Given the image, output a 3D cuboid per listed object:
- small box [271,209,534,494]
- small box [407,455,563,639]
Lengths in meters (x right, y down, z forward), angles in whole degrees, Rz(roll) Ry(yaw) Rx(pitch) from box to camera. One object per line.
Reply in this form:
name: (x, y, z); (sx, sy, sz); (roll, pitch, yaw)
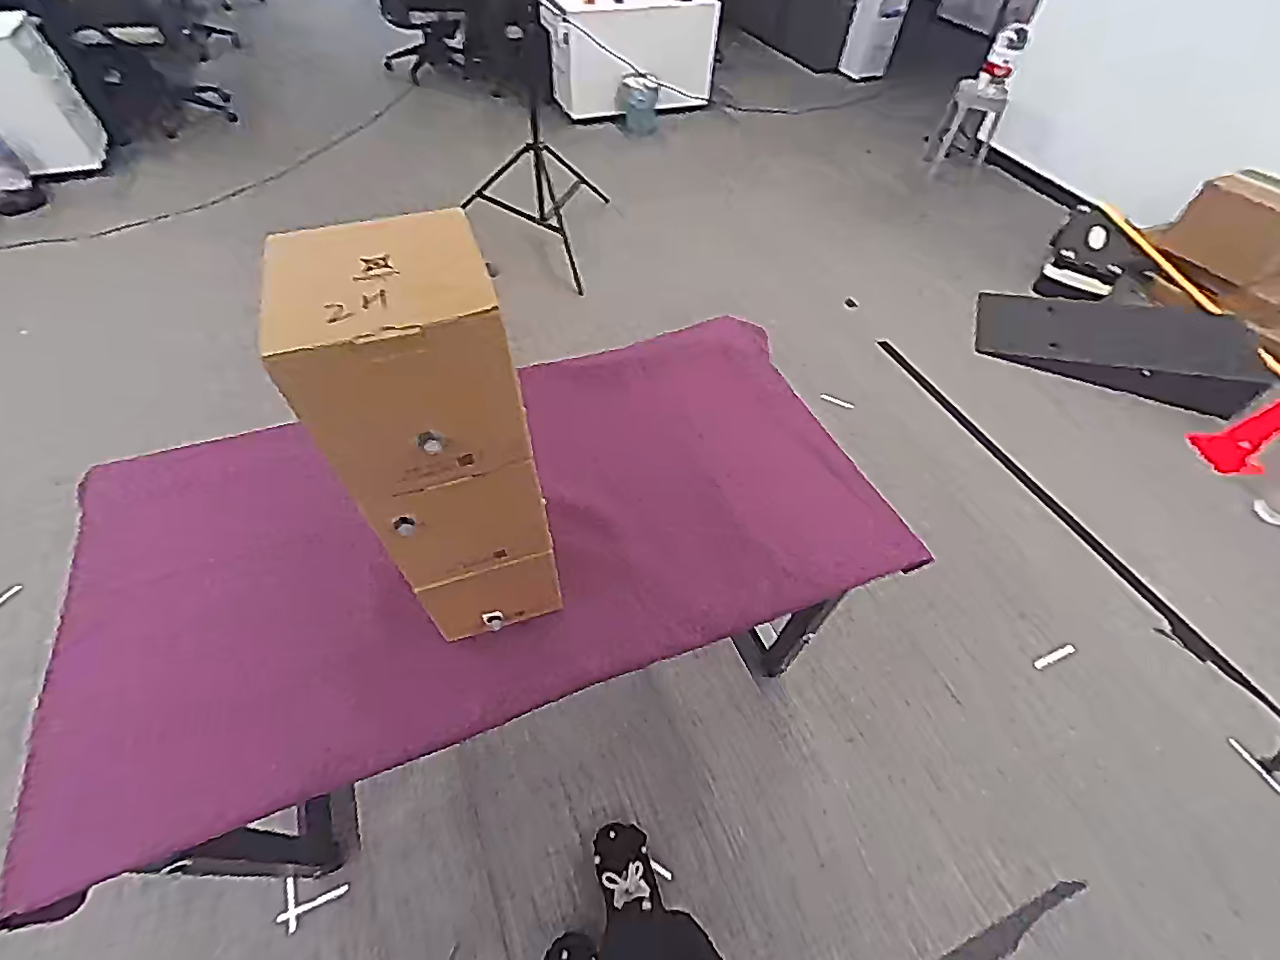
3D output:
small box: (-0.204, -0.117, 0.495); (0.168, 0.176, 0.179); (-16, 54, -14)
small box: (-0.210, 0.091, 0.751); (0.168, 0.176, 0.179); (-15, 55, -14)
